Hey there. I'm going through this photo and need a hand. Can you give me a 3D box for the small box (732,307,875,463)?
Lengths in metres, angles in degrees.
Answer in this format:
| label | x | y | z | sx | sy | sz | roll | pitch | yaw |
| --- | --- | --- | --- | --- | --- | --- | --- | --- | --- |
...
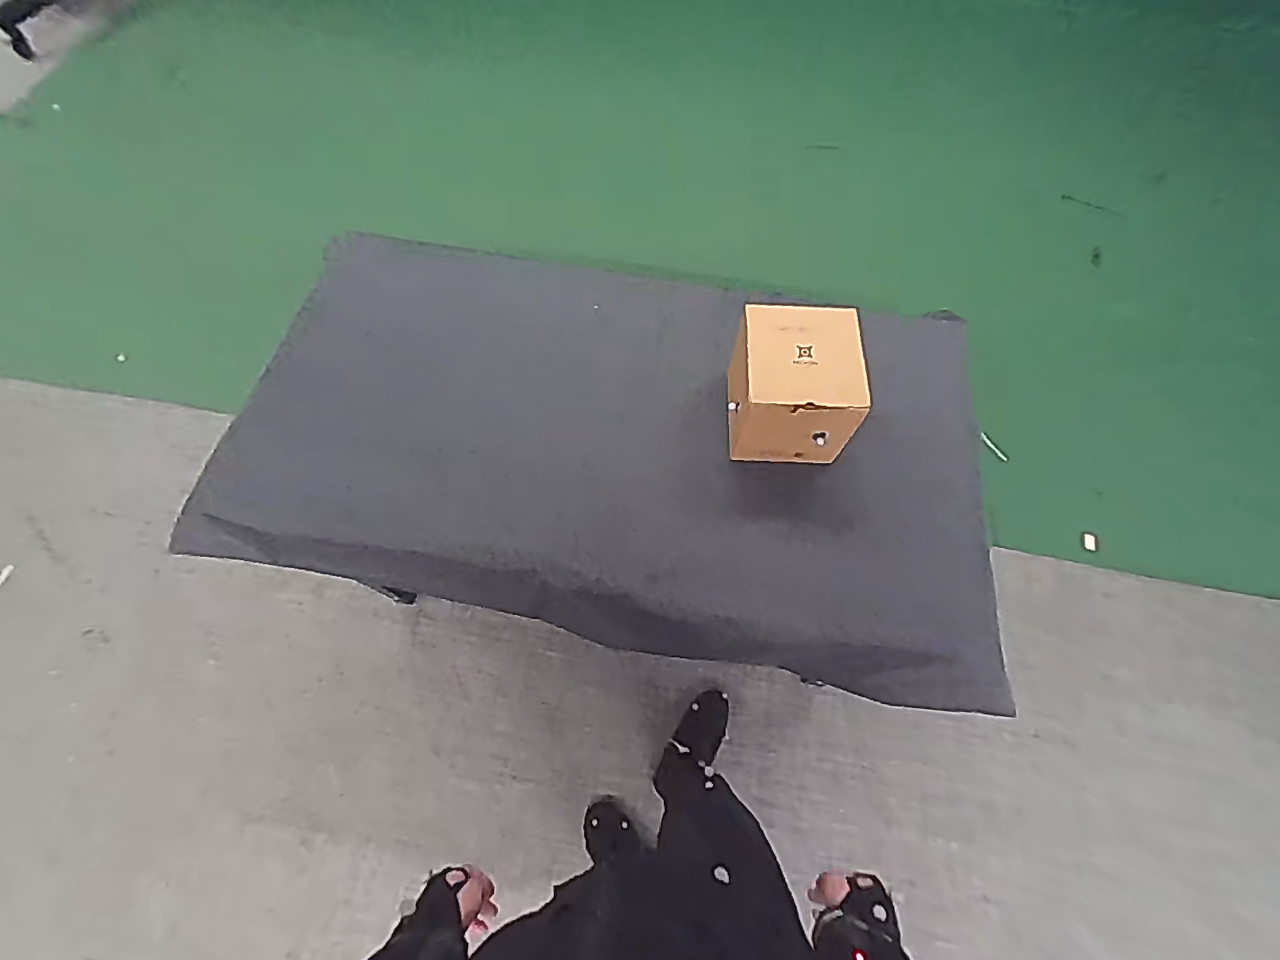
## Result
| label | x | y | z | sx | sy | sz | roll | pitch | yaw |
| --- | --- | --- | --- | --- | --- | --- | --- | --- | --- |
| small box | 0.240 | -0.139 | 0.837 | 0.168 | 0.176 | 0.179 | 3 | 64 | -1 |
